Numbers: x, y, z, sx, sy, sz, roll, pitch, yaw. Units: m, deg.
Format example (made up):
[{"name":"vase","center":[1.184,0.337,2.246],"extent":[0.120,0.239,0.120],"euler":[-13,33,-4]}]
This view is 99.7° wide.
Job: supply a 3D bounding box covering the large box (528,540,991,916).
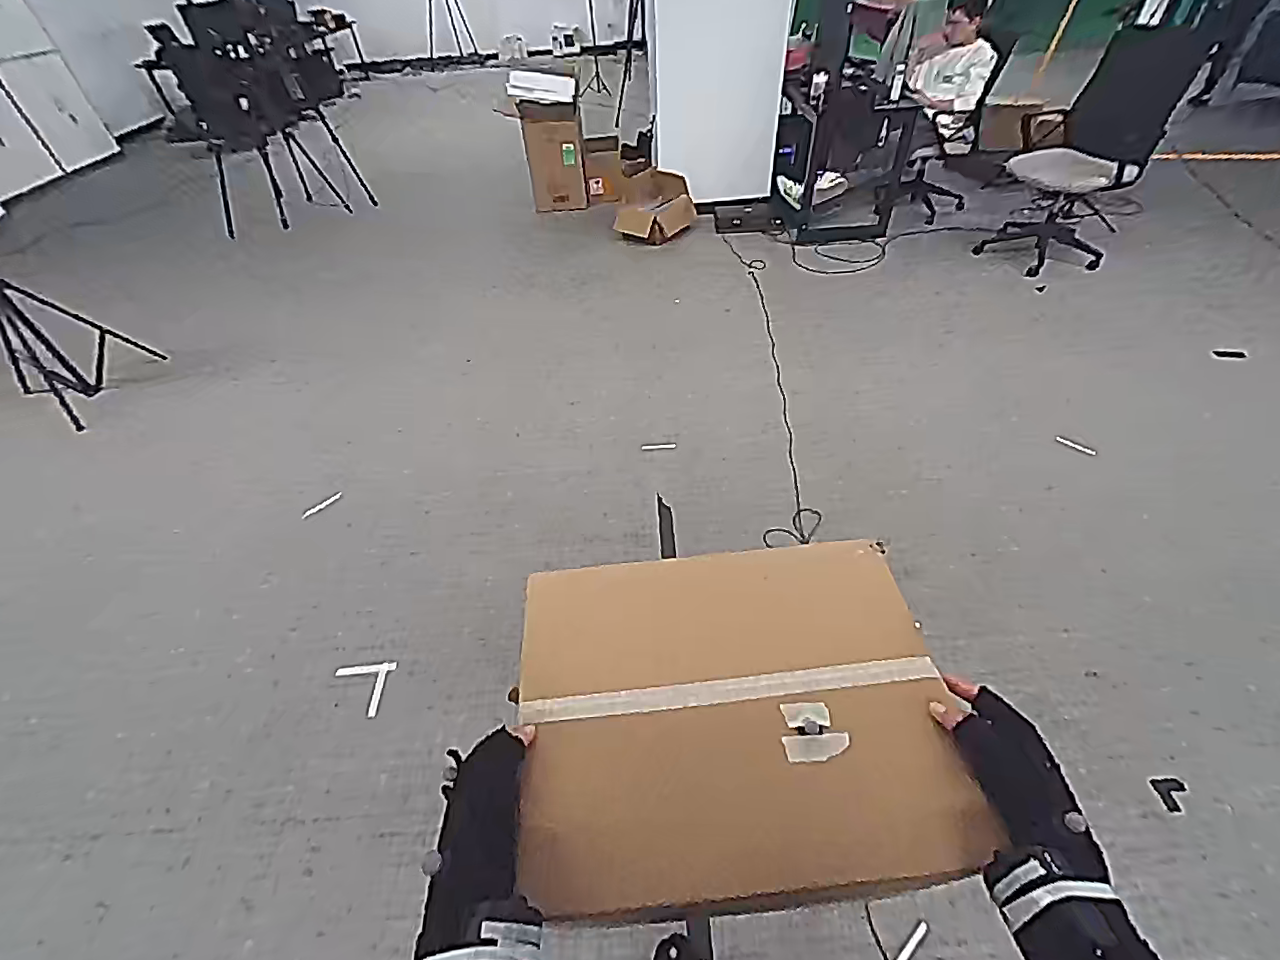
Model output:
[{"name":"large box","center":[0.094,0.305,0.659],"extent":[0.408,0.320,0.320],"euler":[-6,50,-1]}]
